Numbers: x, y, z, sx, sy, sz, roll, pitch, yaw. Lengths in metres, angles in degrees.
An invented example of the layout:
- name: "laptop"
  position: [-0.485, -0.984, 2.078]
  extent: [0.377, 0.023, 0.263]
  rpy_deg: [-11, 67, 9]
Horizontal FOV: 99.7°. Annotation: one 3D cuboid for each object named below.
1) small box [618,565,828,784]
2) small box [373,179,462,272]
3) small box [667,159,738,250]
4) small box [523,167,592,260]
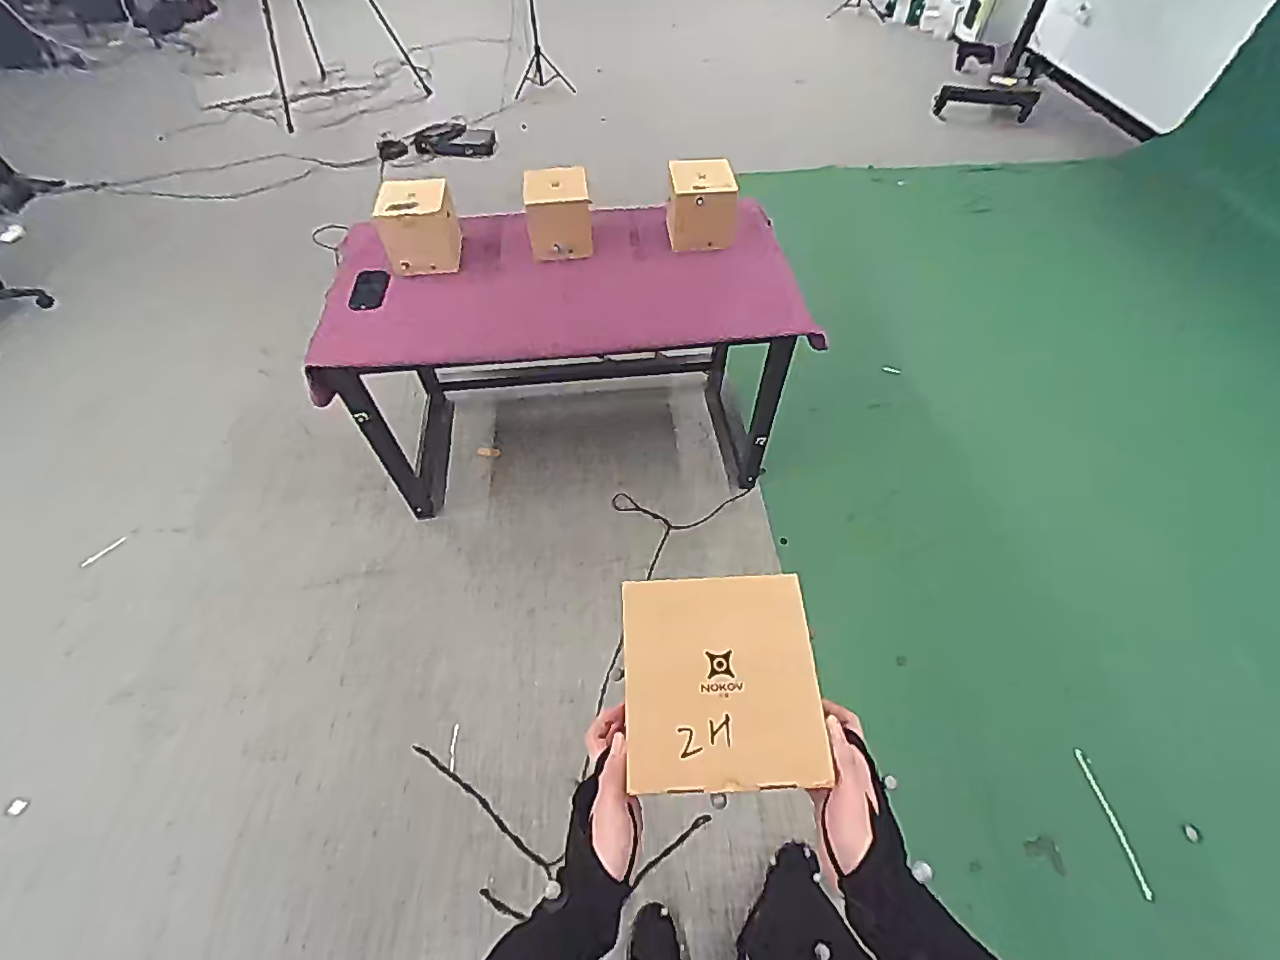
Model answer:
- name: "small box"
  position: [0.065, 0.195, 0.528]
  extent: [0.168, 0.176, 0.179]
  rpy_deg: [-3, 62, 1]
- name: "small box"
  position: [-0.582, -0.670, 1.436]
  extent: [0.168, 0.176, 0.179]
  rpy_deg: [-5, 54, -4]
- name: "small box"
  position: [0.165, -0.760, 1.495]
  extent: [0.168, 0.176, 0.179]
  rpy_deg: [-5, 54, -2]
- name: "small box"
  position: [-0.222, -0.725, 1.475]
  extent: [0.168, 0.176, 0.179]
  rpy_deg: [-6, 55, -3]
